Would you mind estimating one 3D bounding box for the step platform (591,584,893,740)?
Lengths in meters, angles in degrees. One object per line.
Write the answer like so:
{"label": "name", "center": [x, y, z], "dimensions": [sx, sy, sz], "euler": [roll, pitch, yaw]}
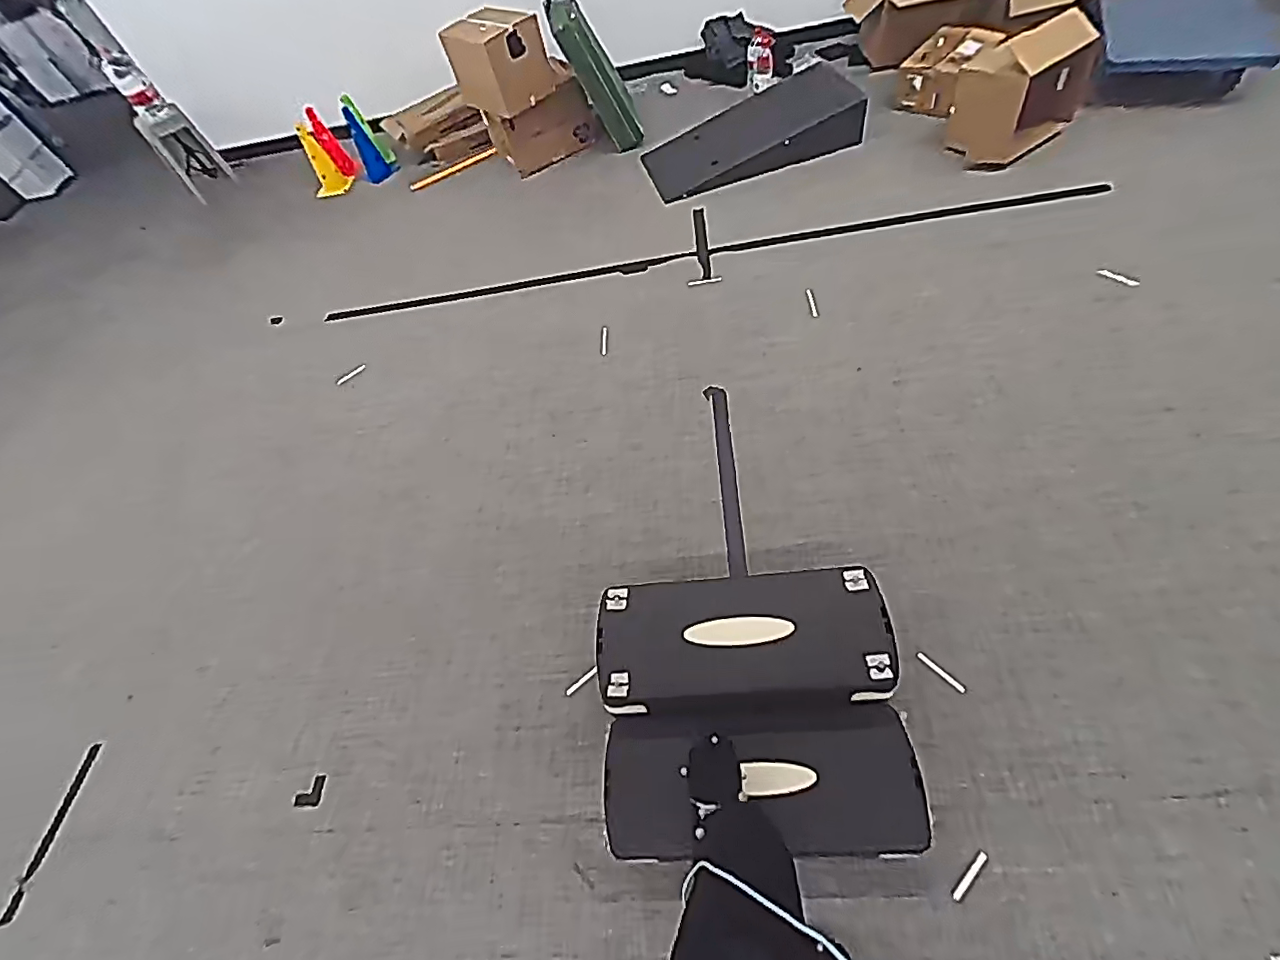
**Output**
{"label": "step platform", "center": [0.225, 0.434, 1.291], "dimensions": [0.684, 0.204, 0.286], "euler": [-7, 56, 6]}
